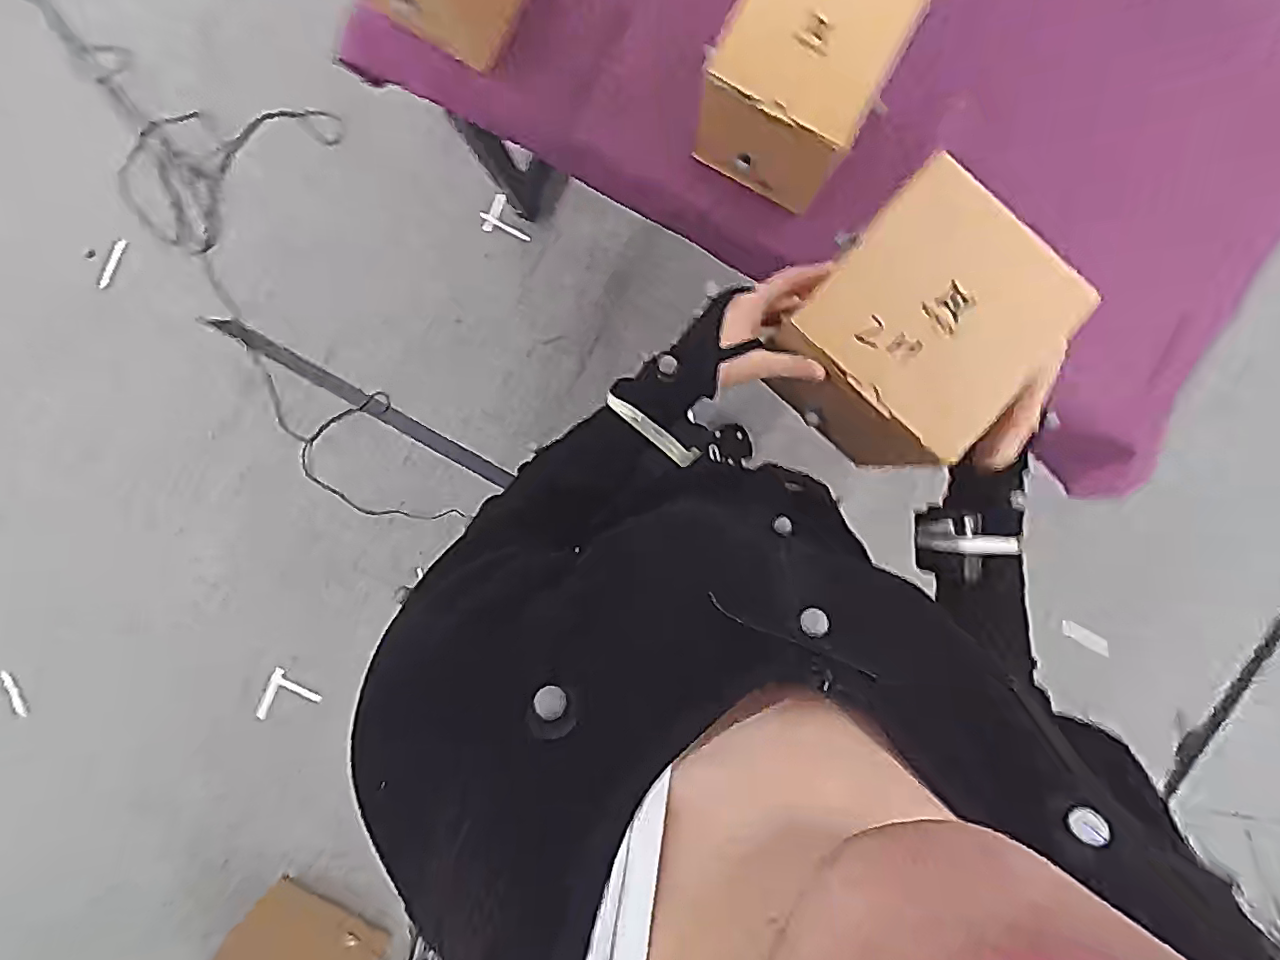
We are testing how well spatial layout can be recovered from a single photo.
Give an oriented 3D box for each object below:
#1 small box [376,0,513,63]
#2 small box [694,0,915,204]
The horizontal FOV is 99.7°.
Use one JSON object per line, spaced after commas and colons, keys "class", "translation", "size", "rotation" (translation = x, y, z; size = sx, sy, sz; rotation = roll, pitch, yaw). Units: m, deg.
{"class": "small box", "translation": [-0.240, -0.641, 0.620], "size": [0.168, 0.176, 0.179], "rotation": [29, 97, -3]}
{"class": "small box", "translation": [0.173, -0.468, 0.631], "size": [0.168, 0.176, 0.179], "rotation": [27, 96, -2]}
